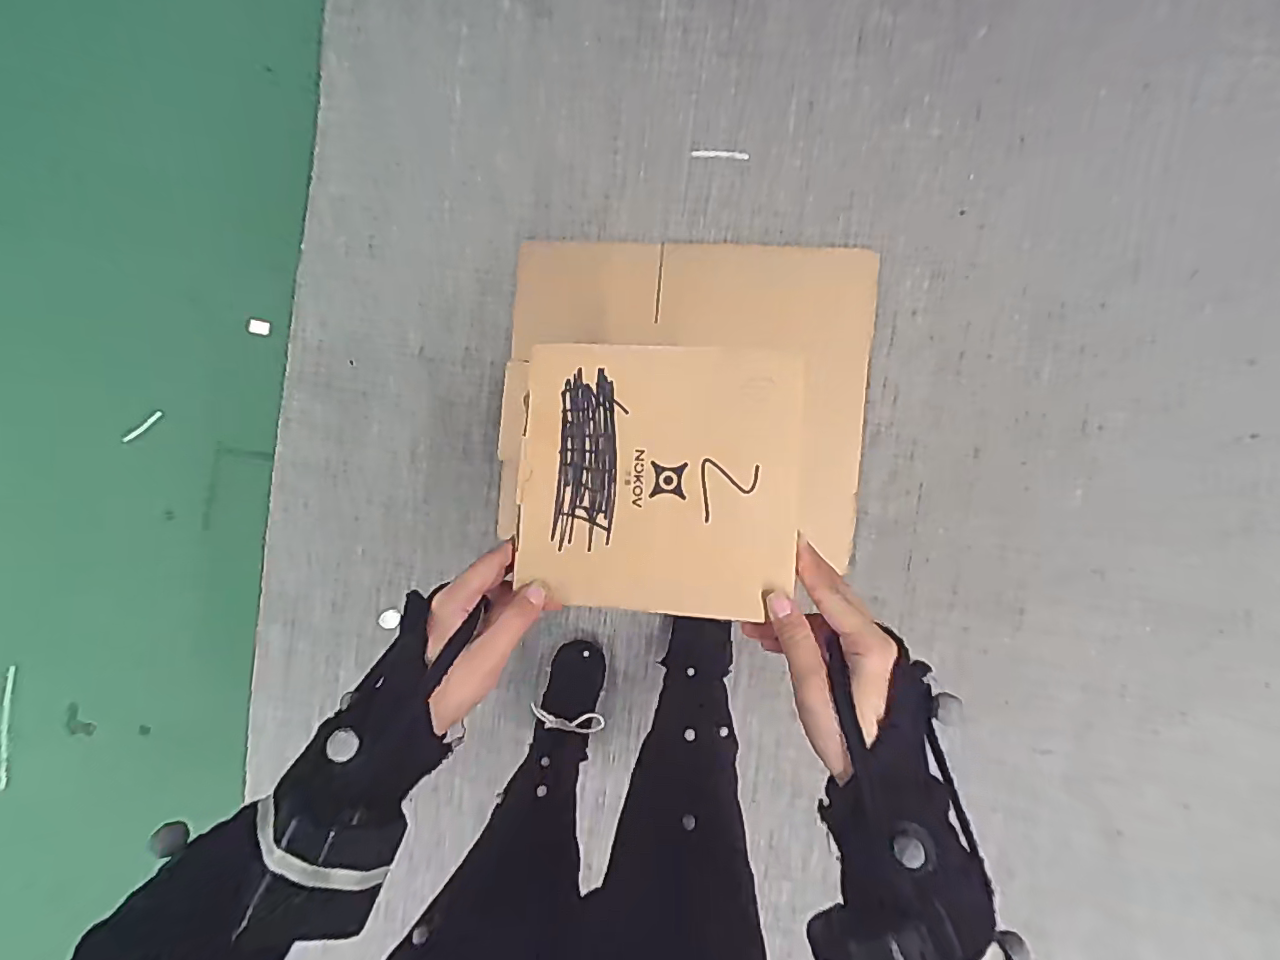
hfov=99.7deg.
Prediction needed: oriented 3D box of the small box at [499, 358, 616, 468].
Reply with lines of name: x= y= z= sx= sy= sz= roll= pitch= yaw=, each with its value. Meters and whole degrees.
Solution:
small box: x=-0.144 y=-0.116 z=0.994 sx=0.168 sy=0.176 sz=0.179 roll=6 pitch=93 yaw=9
